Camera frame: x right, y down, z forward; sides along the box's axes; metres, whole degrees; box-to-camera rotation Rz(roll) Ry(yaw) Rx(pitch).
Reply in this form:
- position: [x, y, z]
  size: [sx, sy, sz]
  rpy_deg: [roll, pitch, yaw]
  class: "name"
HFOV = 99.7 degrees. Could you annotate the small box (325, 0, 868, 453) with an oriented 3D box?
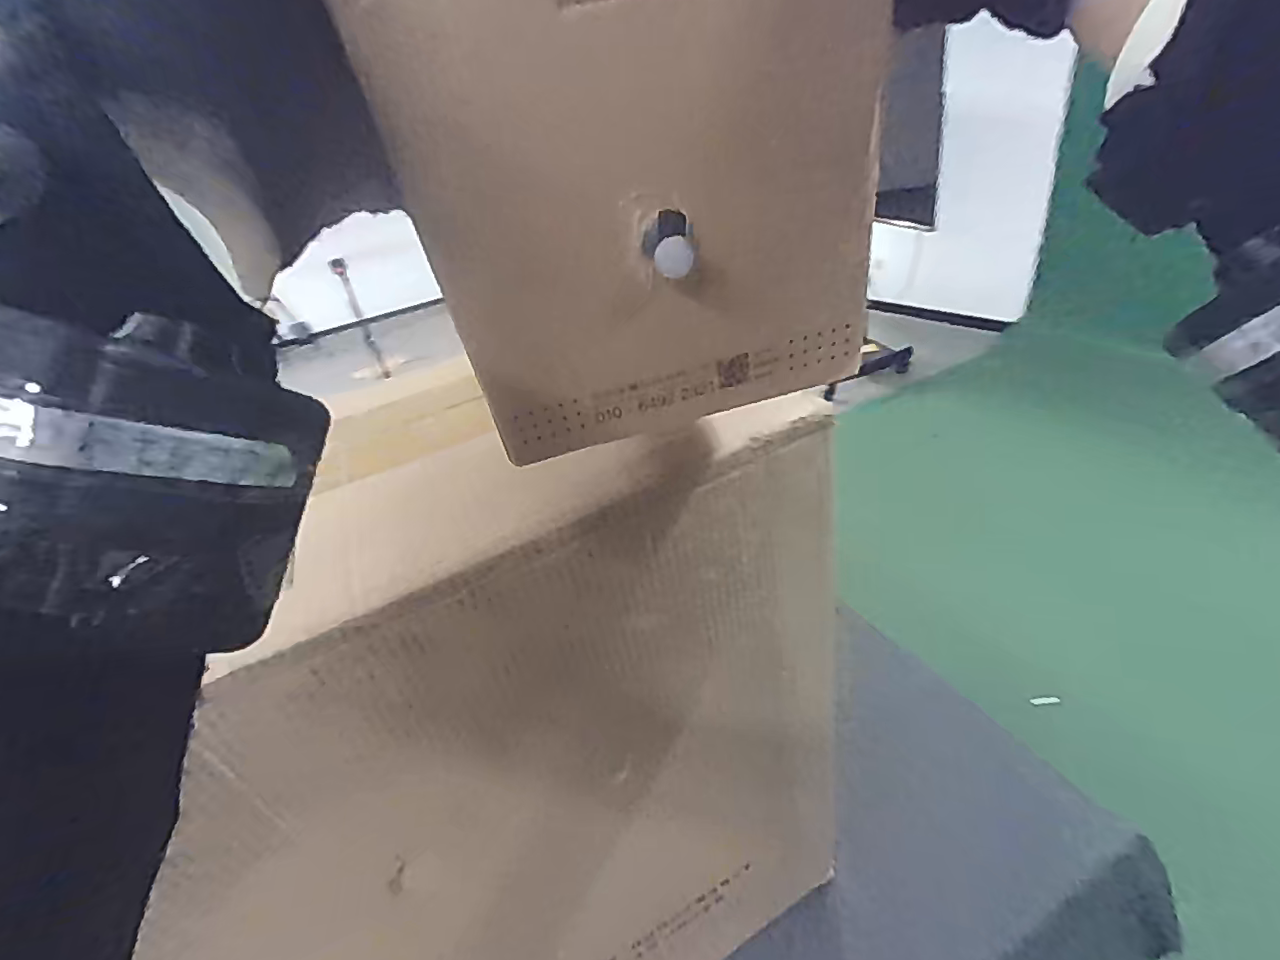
- position: [-0.008, -0.130, 0.261]
  size: [0.168, 0.176, 0.179]
  rpy_deg: [-15, 40, -2]
  class: "small box"
